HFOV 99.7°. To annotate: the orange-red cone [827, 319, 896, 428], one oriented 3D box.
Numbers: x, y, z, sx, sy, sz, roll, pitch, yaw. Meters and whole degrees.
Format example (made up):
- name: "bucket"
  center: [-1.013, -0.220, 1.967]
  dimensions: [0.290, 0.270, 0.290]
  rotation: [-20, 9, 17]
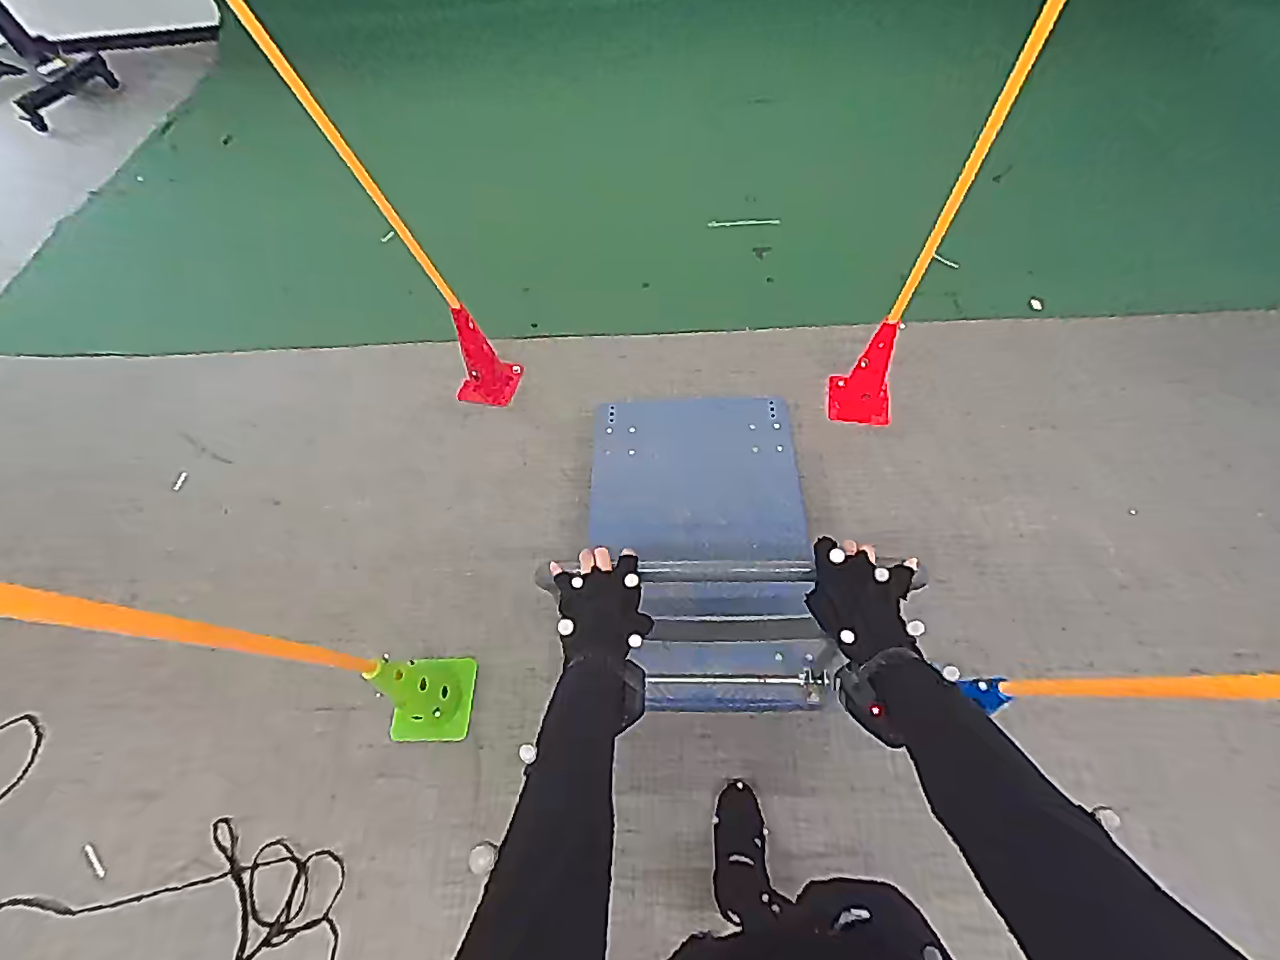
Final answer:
- name: "orange-red cone"
  center: [0.721, -0.351, 1.679]
  dimensions: [0.198, 0.360, 0.199]
  rotation: [8, 60, 10]
